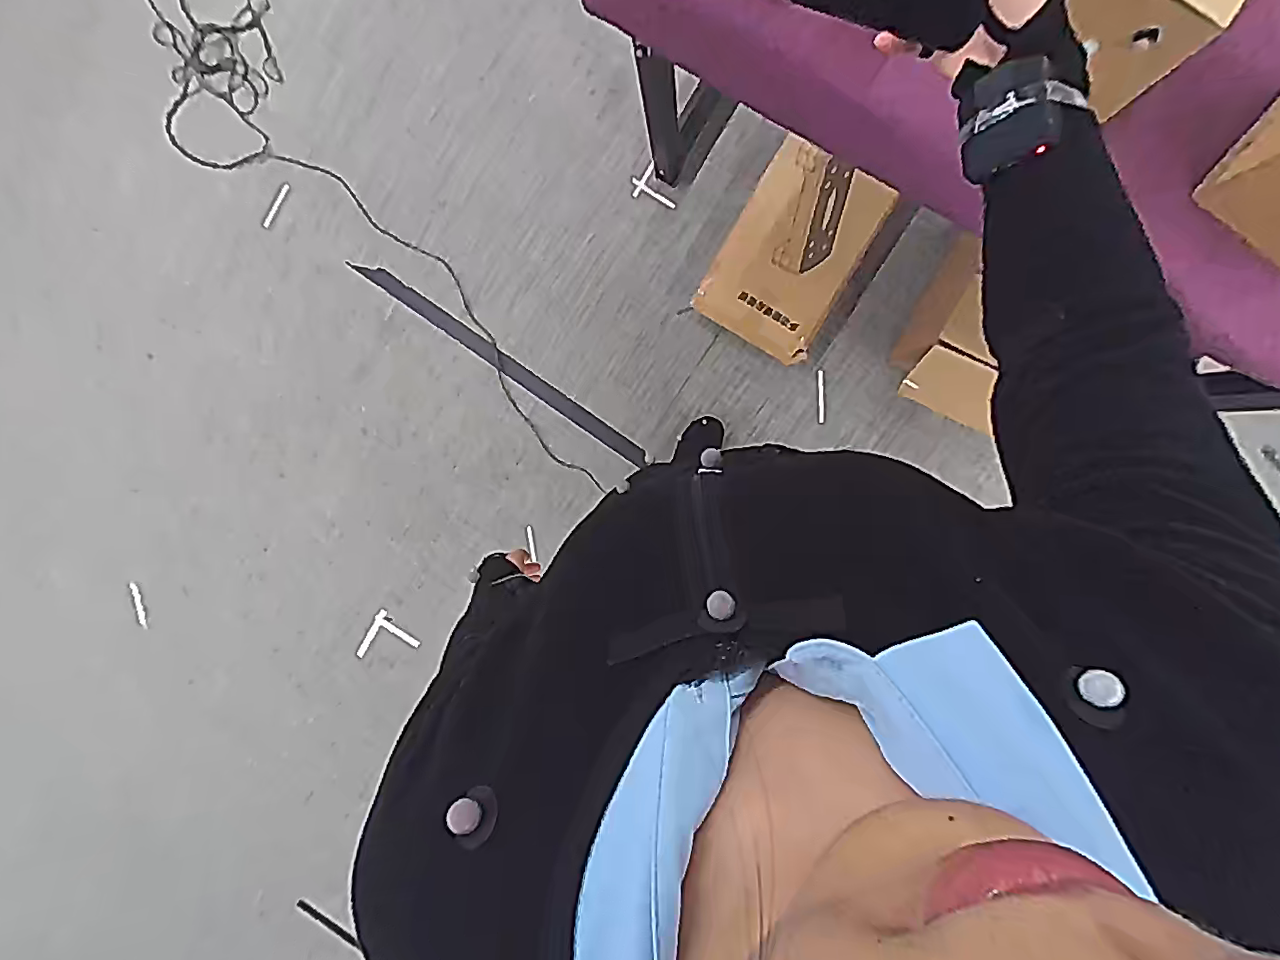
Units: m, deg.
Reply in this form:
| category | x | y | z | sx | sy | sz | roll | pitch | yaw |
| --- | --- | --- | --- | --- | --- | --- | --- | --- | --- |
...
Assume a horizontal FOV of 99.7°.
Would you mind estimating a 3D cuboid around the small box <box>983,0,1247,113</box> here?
| category | x | y | z | sx | sy | sz | roll | pitch | yaw |
| --- | --- | --- | --- | --- | --- | --- | --- | --- | --- |
| small box | 0.525 | -0.541 | 0.577 | 0.179 | 0.176 | 0.168 | 32 | 95 | 3 |

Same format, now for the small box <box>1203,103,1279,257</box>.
| category | x | y | z | sx | sy | sz | roll | pitch | yaw |
| --- | --- | --- | --- | --- | --- | --- | --- | --- | --- |
| small box | 0.782 | -0.353 | 0.567 | 0.179 | 0.176 | 0.168 | 39 | 98 | 1 |
